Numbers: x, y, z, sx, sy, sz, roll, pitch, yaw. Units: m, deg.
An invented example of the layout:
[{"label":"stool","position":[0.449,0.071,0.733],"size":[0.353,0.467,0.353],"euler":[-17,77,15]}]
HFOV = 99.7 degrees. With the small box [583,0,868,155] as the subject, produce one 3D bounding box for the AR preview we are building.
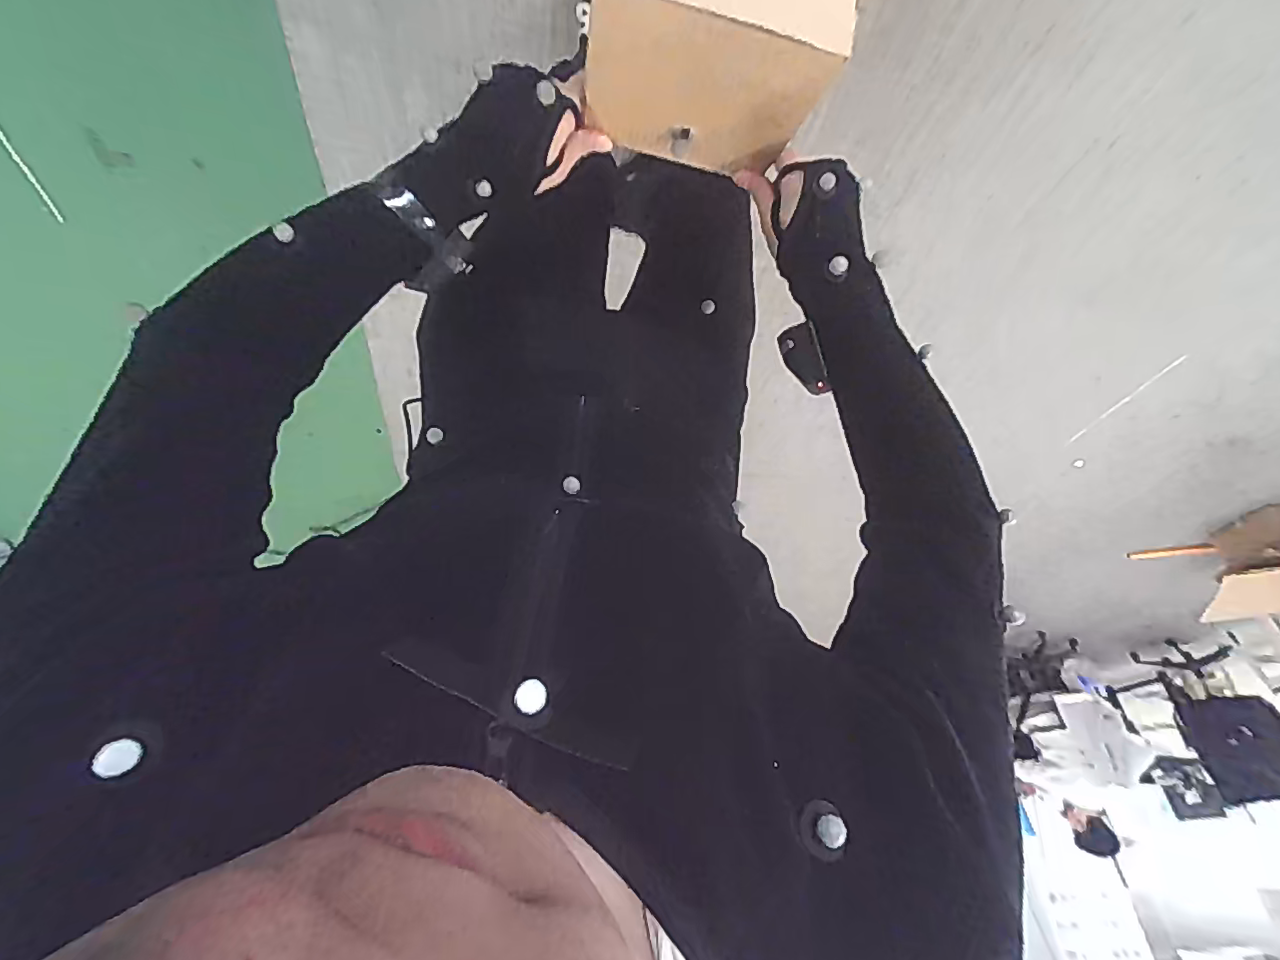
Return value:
[{"label":"small box","position":[0.060,-0.385,0.411],"size":[0.179,0.168,0.176],"euler":[10,-179,-10]}]
